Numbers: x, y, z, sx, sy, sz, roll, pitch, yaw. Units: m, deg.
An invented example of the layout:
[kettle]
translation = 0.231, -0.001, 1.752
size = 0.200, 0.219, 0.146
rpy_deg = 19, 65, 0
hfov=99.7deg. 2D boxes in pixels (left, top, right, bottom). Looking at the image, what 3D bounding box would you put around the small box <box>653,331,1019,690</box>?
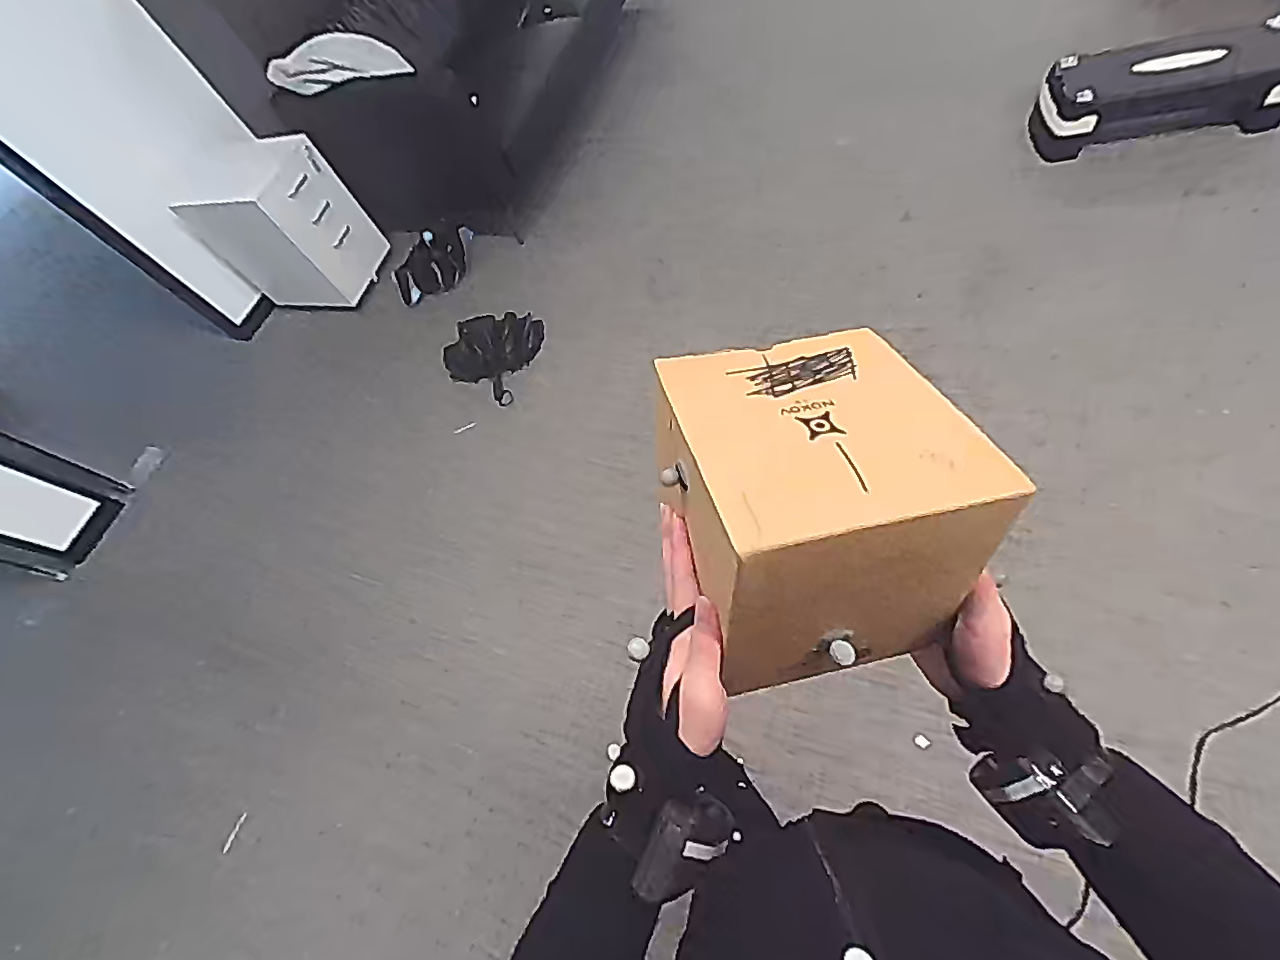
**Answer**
[small box]
translation = 0.106, 0.019, 0.387
size = 0.168, 0.176, 0.179
rpy_deg = -11, 45, -6
